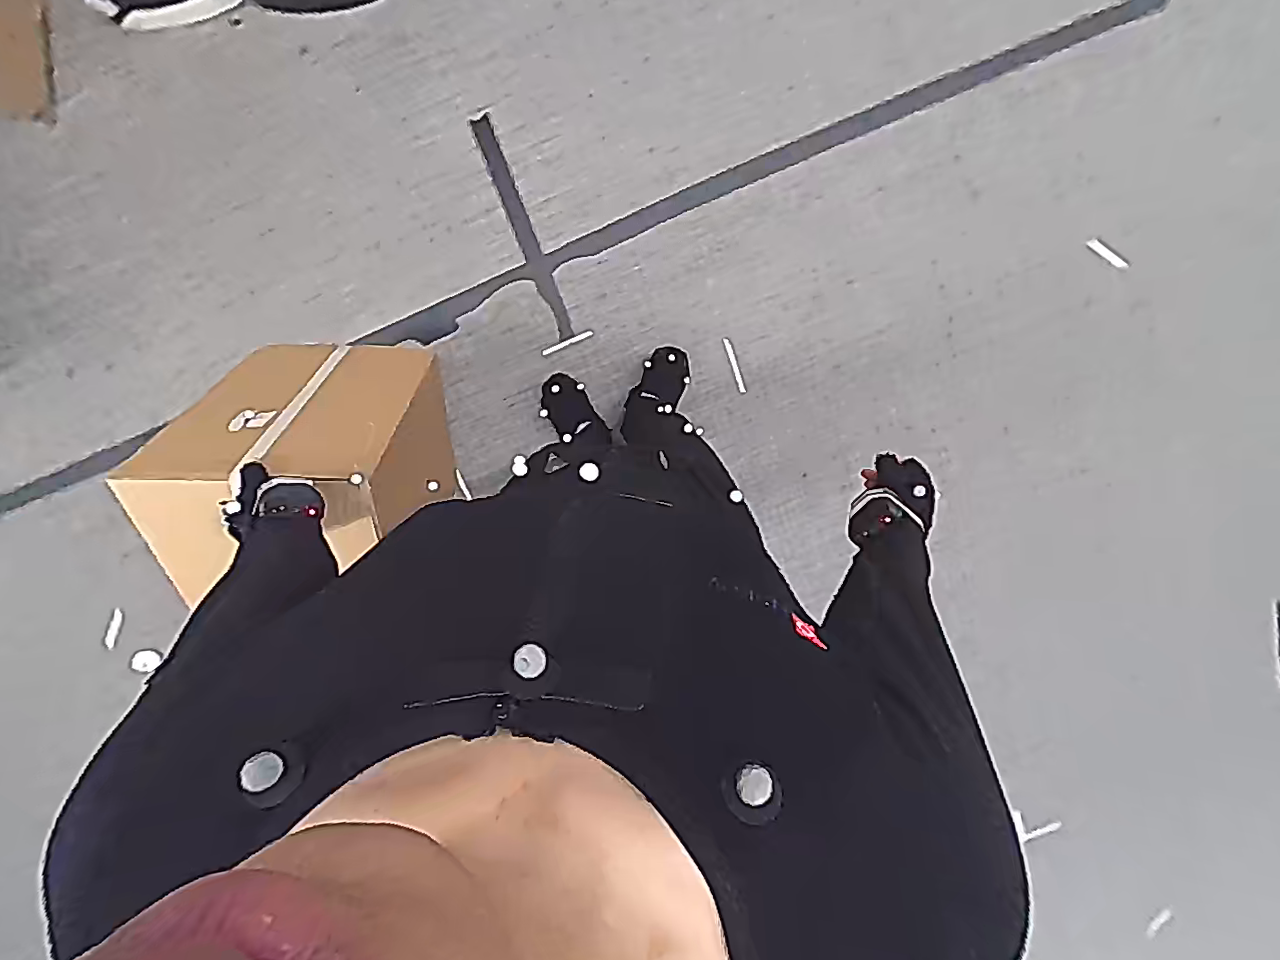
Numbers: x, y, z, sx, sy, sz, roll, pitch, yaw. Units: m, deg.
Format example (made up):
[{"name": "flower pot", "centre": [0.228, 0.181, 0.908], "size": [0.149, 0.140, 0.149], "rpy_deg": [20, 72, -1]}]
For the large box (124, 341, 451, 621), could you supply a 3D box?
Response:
[{"name": "large box", "centre": [-0.537, -0.010, 0.946], "size": [0.320, 0.408, 0.320], "rpy_deg": [1, 128, -6]}]
